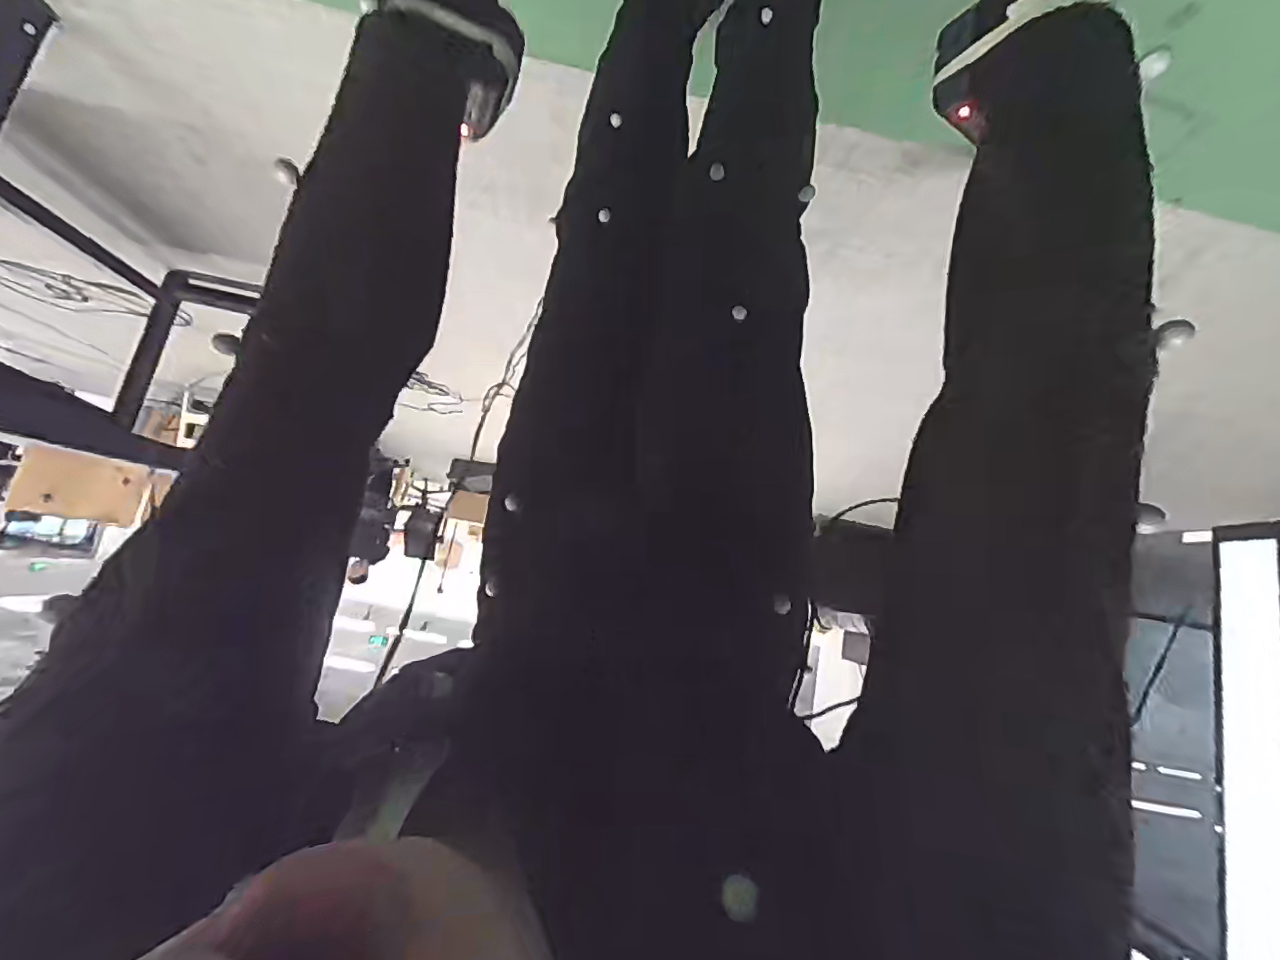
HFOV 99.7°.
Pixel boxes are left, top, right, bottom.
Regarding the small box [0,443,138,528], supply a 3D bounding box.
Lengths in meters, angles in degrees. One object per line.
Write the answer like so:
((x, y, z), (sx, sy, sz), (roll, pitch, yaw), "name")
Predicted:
((-1.433, 0.015, 1.355), (0.179, 0.176, 0.168), (11, 169, -4), "small box")
